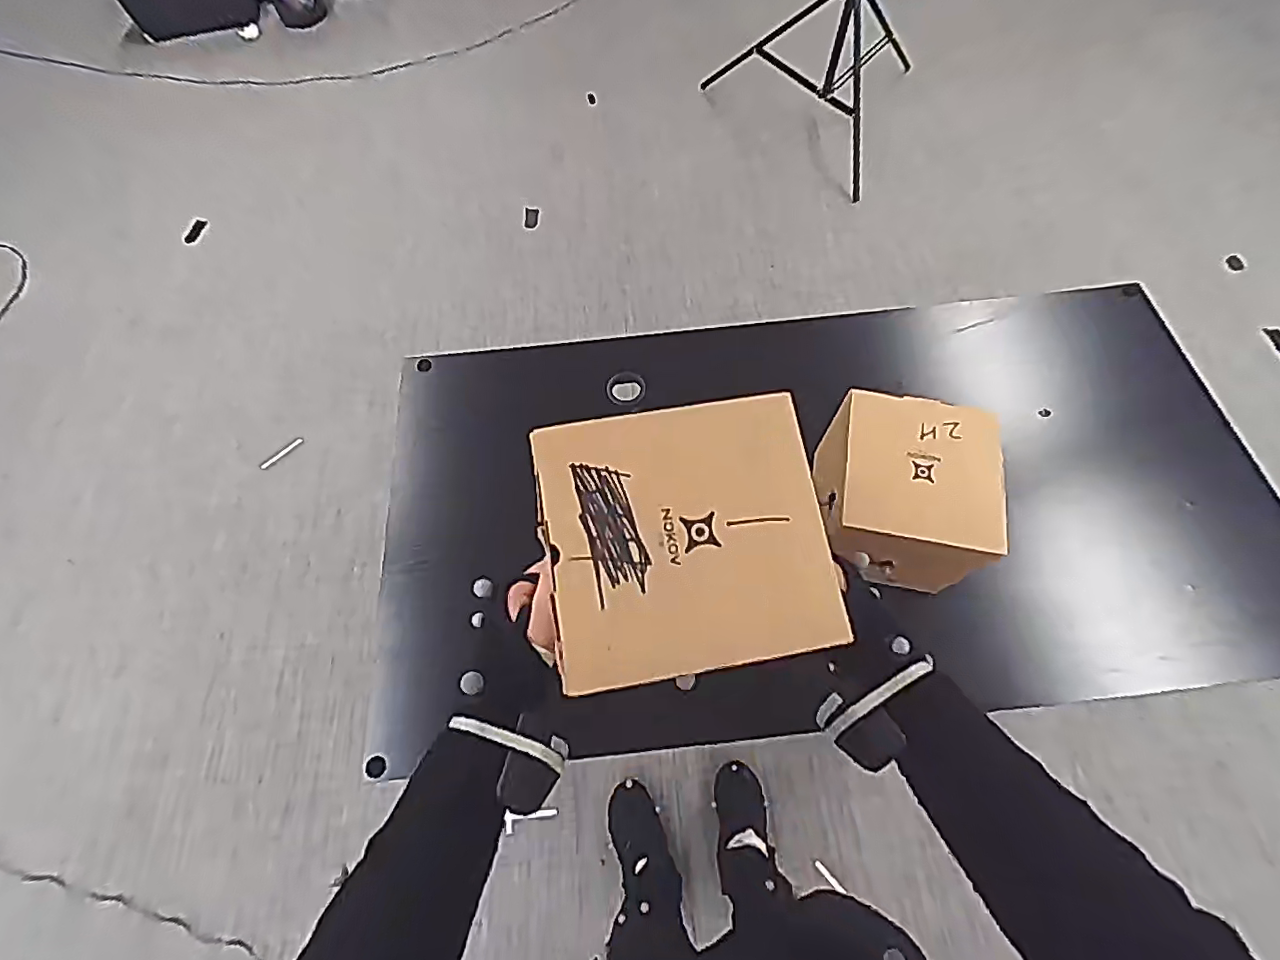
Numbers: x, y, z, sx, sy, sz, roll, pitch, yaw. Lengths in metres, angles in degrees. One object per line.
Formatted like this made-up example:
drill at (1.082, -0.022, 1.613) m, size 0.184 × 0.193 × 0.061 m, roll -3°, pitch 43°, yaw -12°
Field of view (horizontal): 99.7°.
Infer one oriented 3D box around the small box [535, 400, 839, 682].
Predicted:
small box at (0.024, 0.054, 0.427) m, size 0.179 × 0.176 × 0.168 m, roll -9°, pitch 77°, yaw -5°

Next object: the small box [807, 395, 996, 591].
small box at (0.307, 0.024, 0.668) m, size 0.168 × 0.176 × 0.179 m, roll 11°, pitch 65°, yaw 7°
